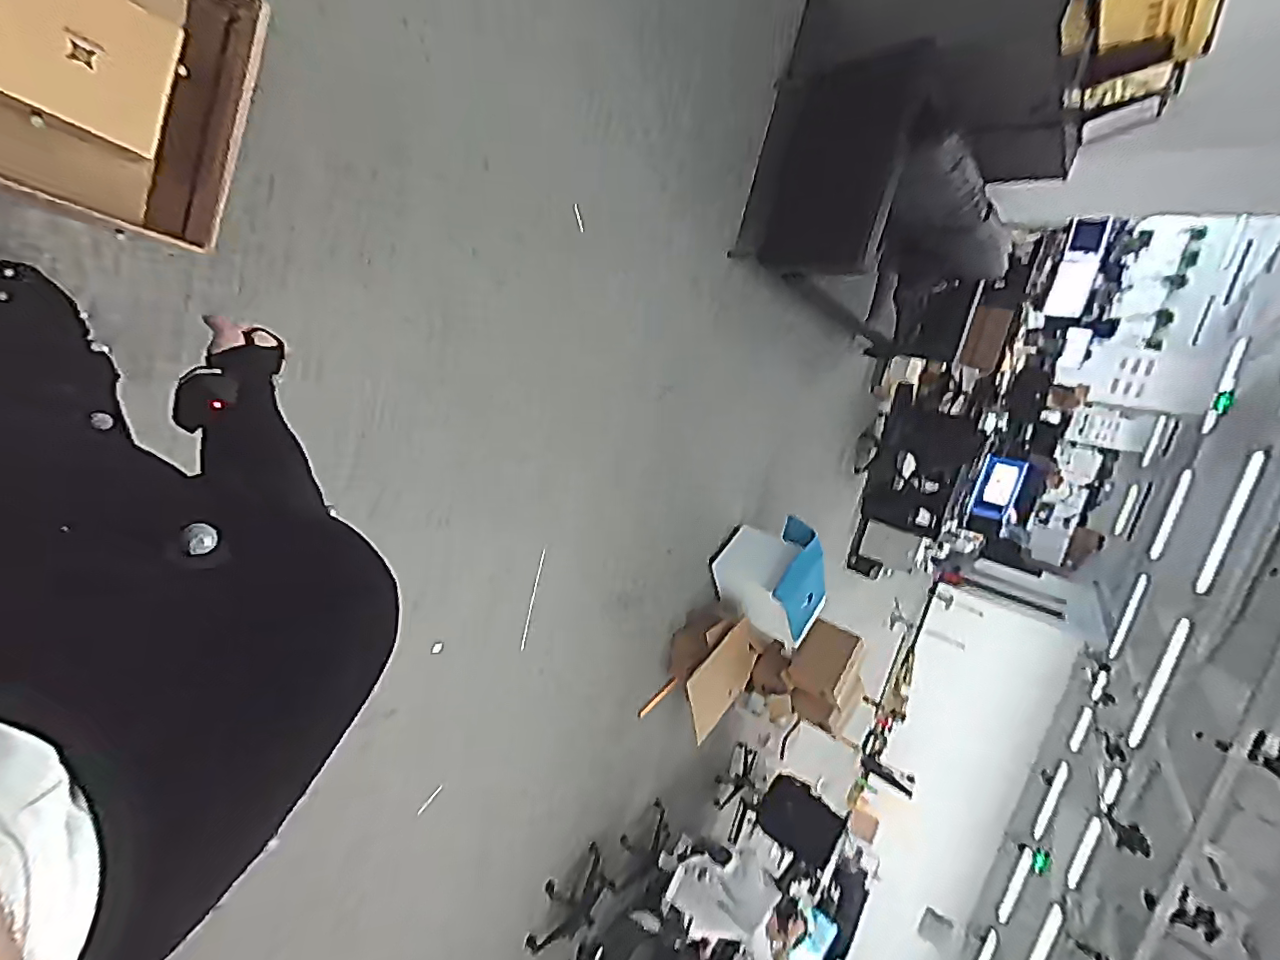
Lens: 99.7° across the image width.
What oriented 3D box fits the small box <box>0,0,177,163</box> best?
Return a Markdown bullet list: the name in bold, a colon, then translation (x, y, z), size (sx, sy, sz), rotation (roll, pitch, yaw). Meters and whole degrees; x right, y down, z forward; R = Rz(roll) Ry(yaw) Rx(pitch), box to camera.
- **small box**: translation (-0.748, -0.547, 0.710), size (0.168, 0.176, 0.179), rotation (12, 97, -52)
